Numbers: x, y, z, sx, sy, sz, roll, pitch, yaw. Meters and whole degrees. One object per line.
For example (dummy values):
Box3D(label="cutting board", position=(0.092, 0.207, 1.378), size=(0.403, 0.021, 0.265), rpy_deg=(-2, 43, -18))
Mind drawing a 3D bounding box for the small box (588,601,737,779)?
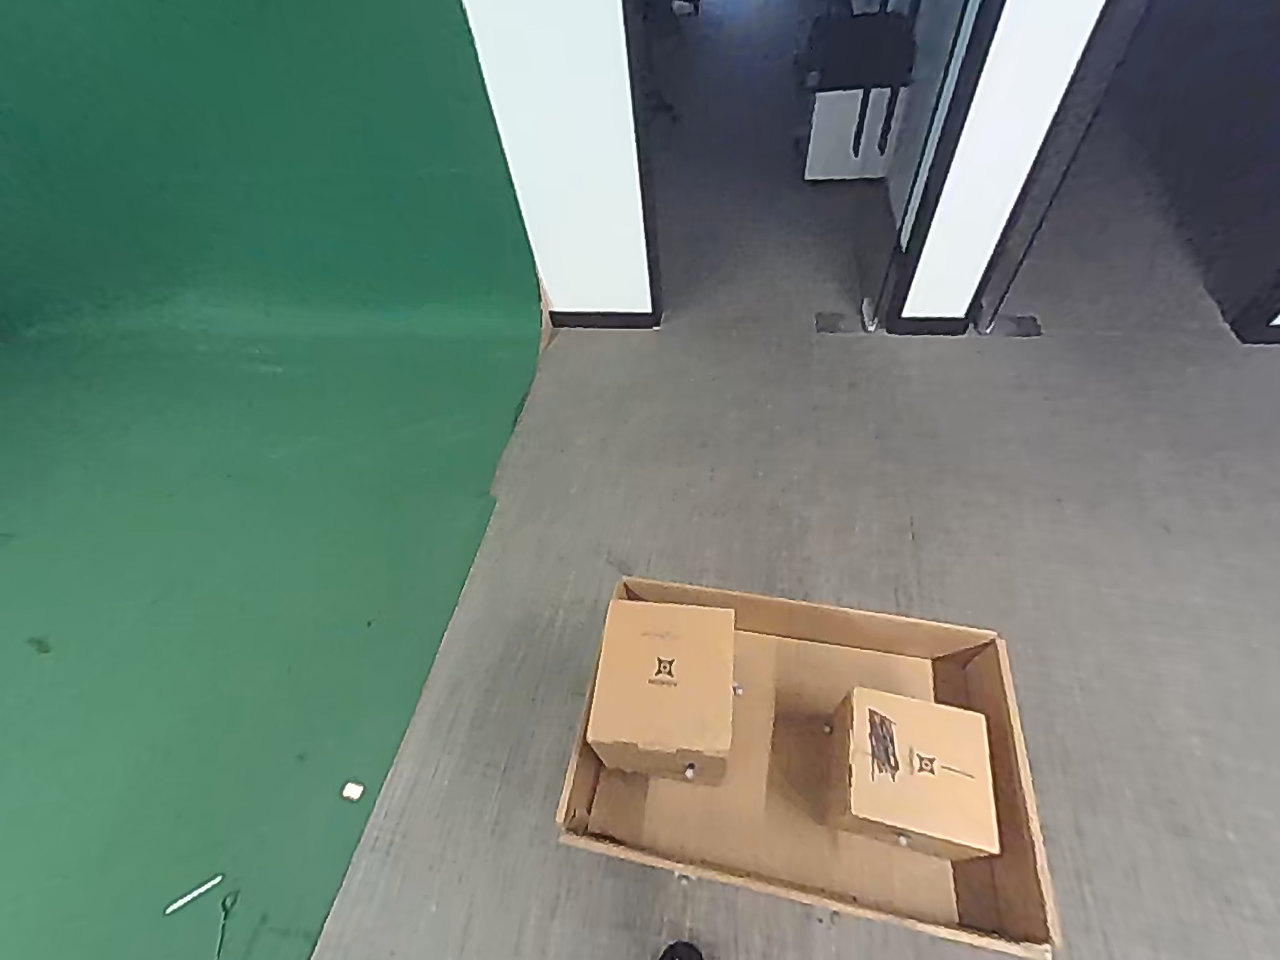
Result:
Box3D(label="small box", position=(0.040, 0.280, 0.713), size=(0.168, 0.176, 0.179), rpy_deg=(3, 53, 9))
